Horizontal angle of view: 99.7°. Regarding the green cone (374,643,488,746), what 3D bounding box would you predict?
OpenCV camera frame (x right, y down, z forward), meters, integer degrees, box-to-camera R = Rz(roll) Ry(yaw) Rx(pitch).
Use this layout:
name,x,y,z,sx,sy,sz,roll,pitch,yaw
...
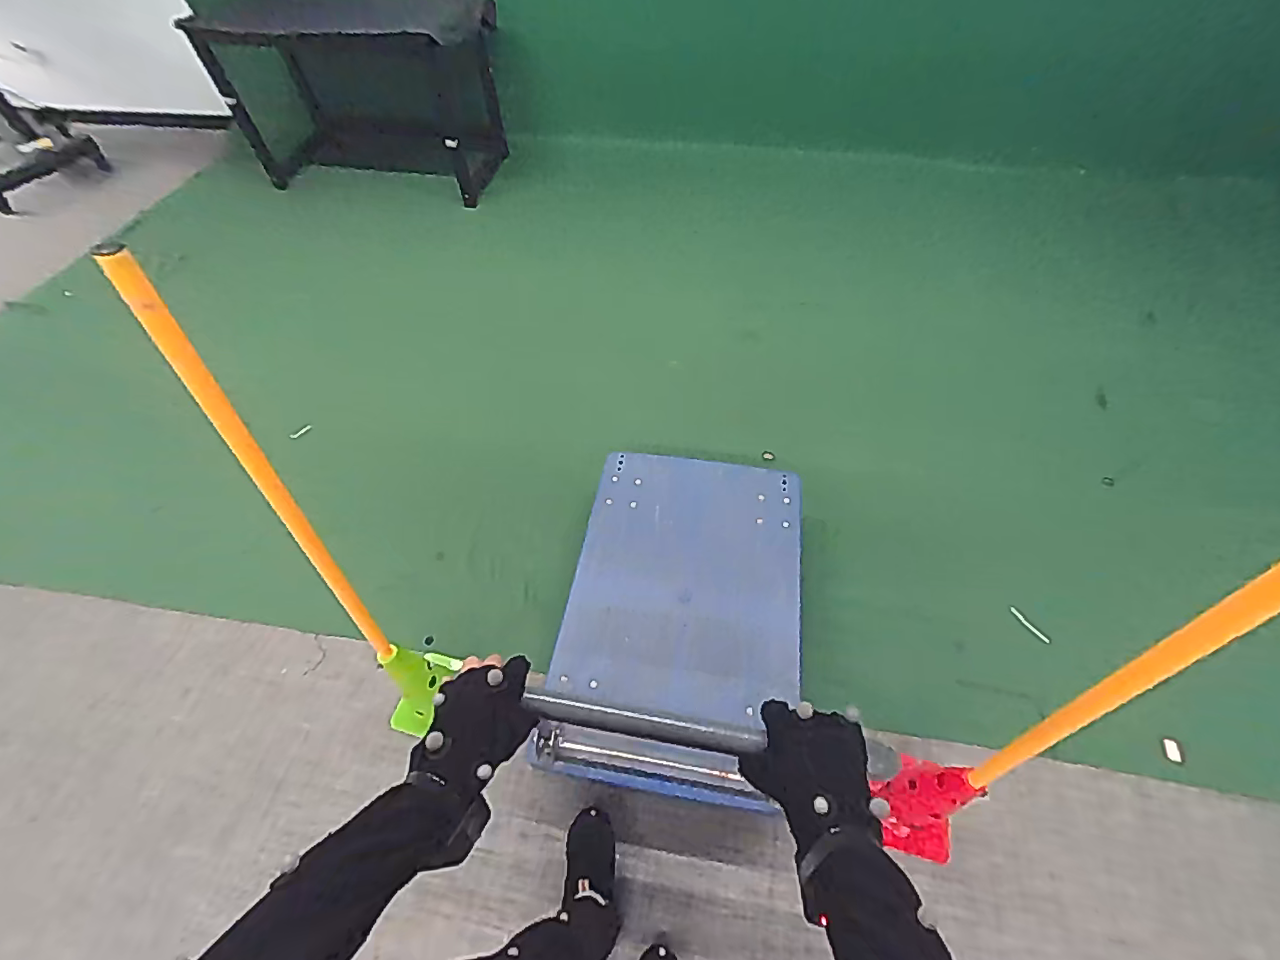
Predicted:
name,x,y,z,sx,sy,sz,roll,pitch,yaw
green cone,-0.522,0.461,1.264,0.202,0.368,0.200,11,54,10
